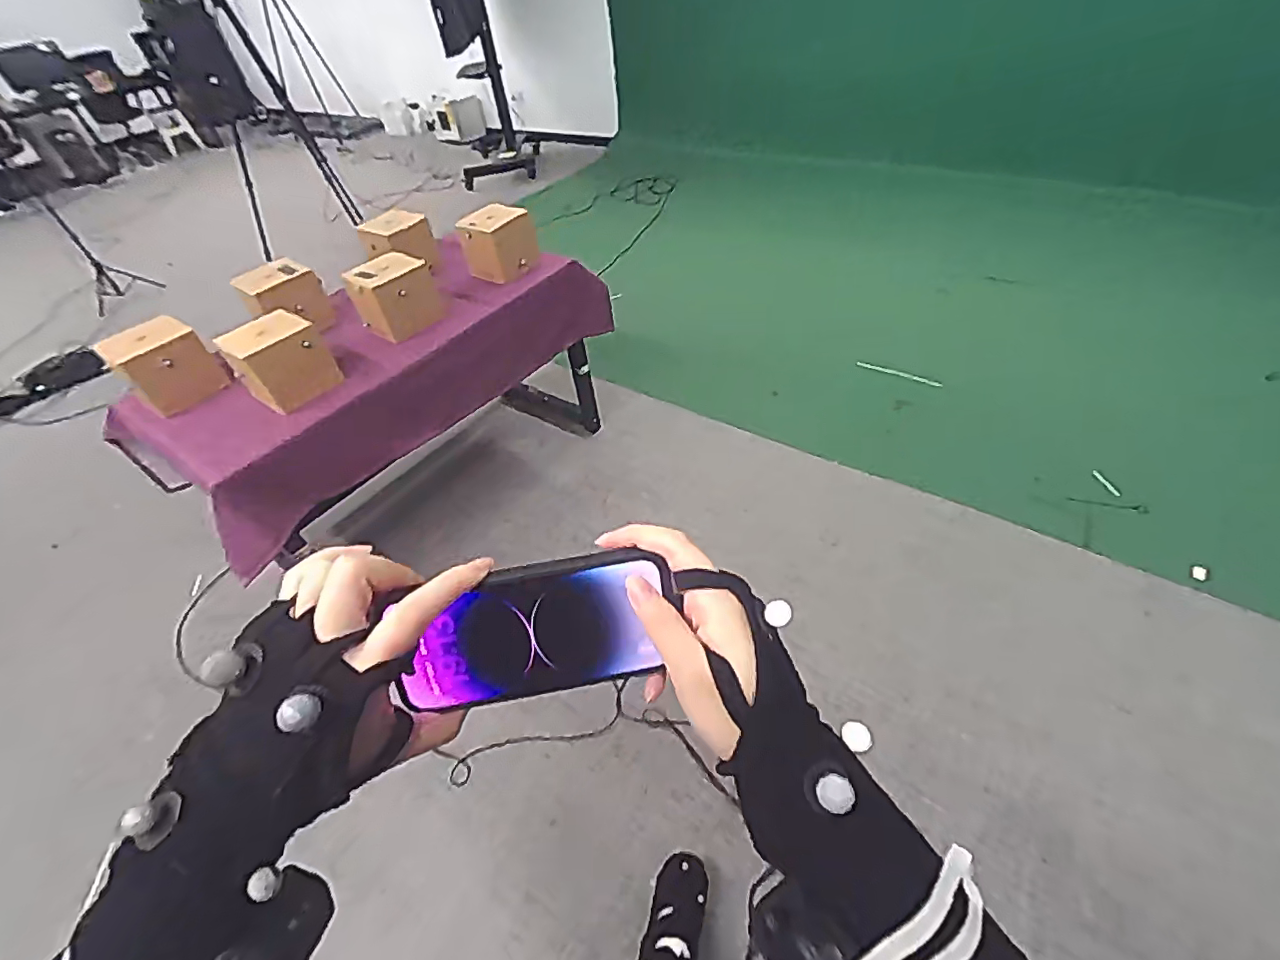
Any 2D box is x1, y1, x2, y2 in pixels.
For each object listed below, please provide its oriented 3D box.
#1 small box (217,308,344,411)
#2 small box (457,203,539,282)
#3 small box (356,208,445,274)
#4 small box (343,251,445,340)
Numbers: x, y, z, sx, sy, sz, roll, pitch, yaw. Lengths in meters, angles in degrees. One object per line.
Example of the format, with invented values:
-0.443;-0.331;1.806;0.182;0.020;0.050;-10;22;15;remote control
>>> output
-0.883;-0.297;1.342;0.168;0.176;0.179;26;53;29;small box
-0.443;-0.758;1.725;0.168;0.176;0.179;24;53;27;small box
-0.784;-0.771;1.782;0.179;0.176;0.168;23;54;26;small box
-0.688;-0.522;1.532;0.168;0.176;0.179;28;55;29;small box
